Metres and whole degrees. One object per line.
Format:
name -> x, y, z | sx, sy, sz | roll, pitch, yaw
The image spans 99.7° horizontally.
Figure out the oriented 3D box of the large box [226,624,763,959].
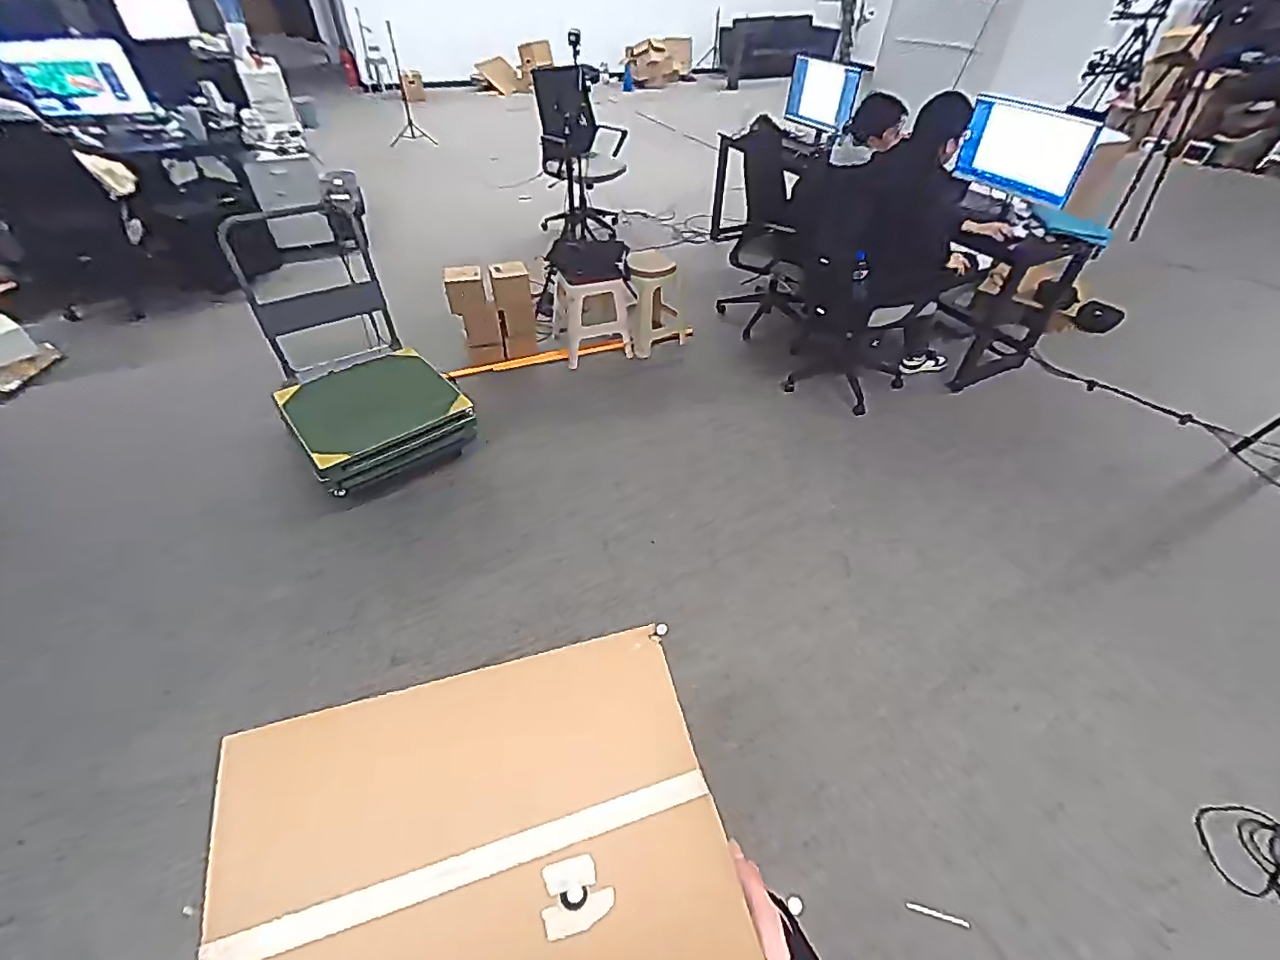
large box -> -0.149, 0.402, 0.586 | 0.408, 0.320, 0.320 | -10, 59, -17
